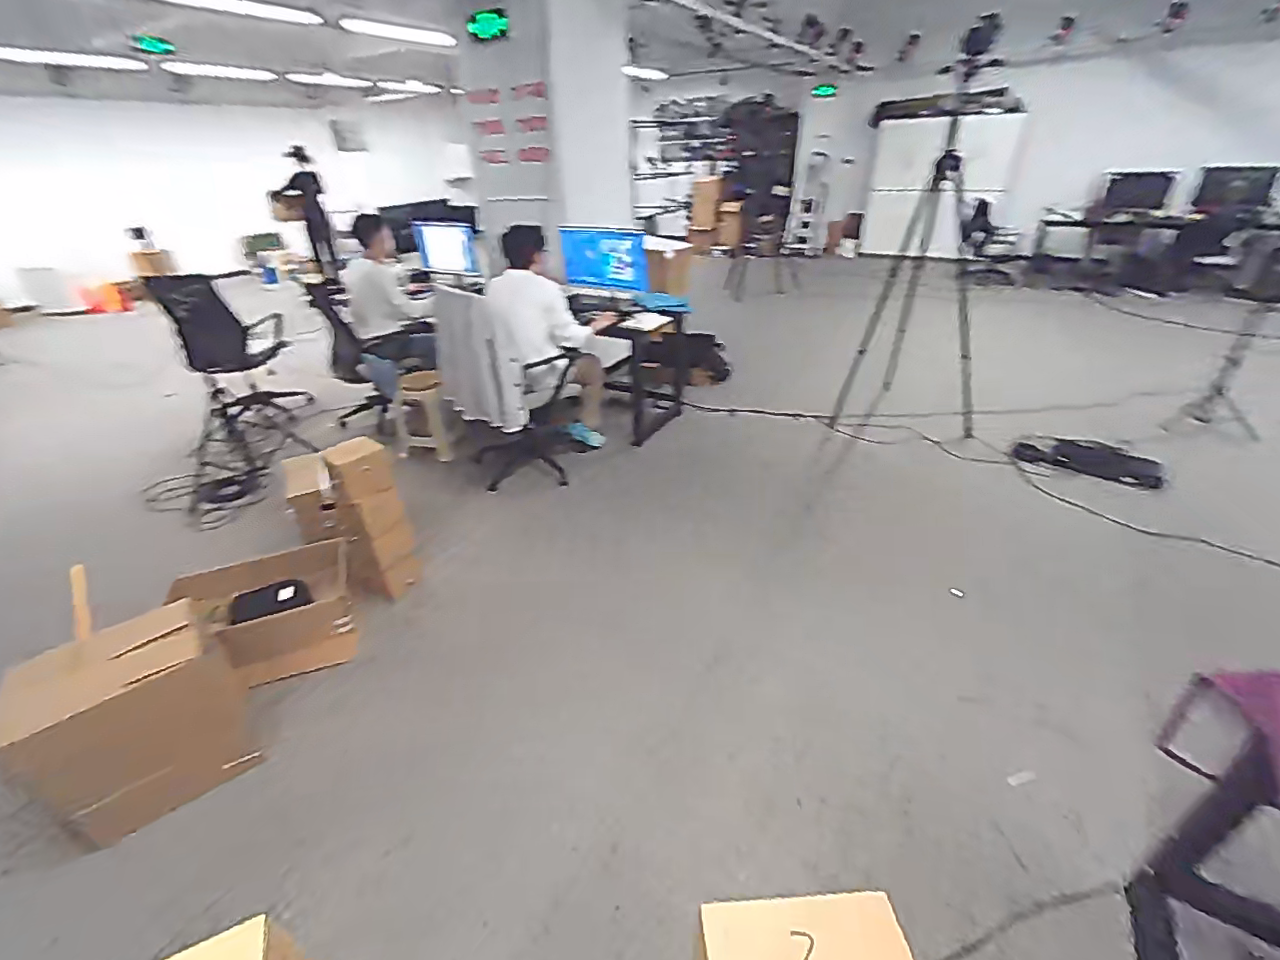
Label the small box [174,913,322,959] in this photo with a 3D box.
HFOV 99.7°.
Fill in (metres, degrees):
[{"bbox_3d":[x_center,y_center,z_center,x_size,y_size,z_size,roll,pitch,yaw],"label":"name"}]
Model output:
[{"bbox_3d":[-0.334,0.487,0.404,0.168,0.176,0.179,-15,39,-21],"label":"small box"}]
